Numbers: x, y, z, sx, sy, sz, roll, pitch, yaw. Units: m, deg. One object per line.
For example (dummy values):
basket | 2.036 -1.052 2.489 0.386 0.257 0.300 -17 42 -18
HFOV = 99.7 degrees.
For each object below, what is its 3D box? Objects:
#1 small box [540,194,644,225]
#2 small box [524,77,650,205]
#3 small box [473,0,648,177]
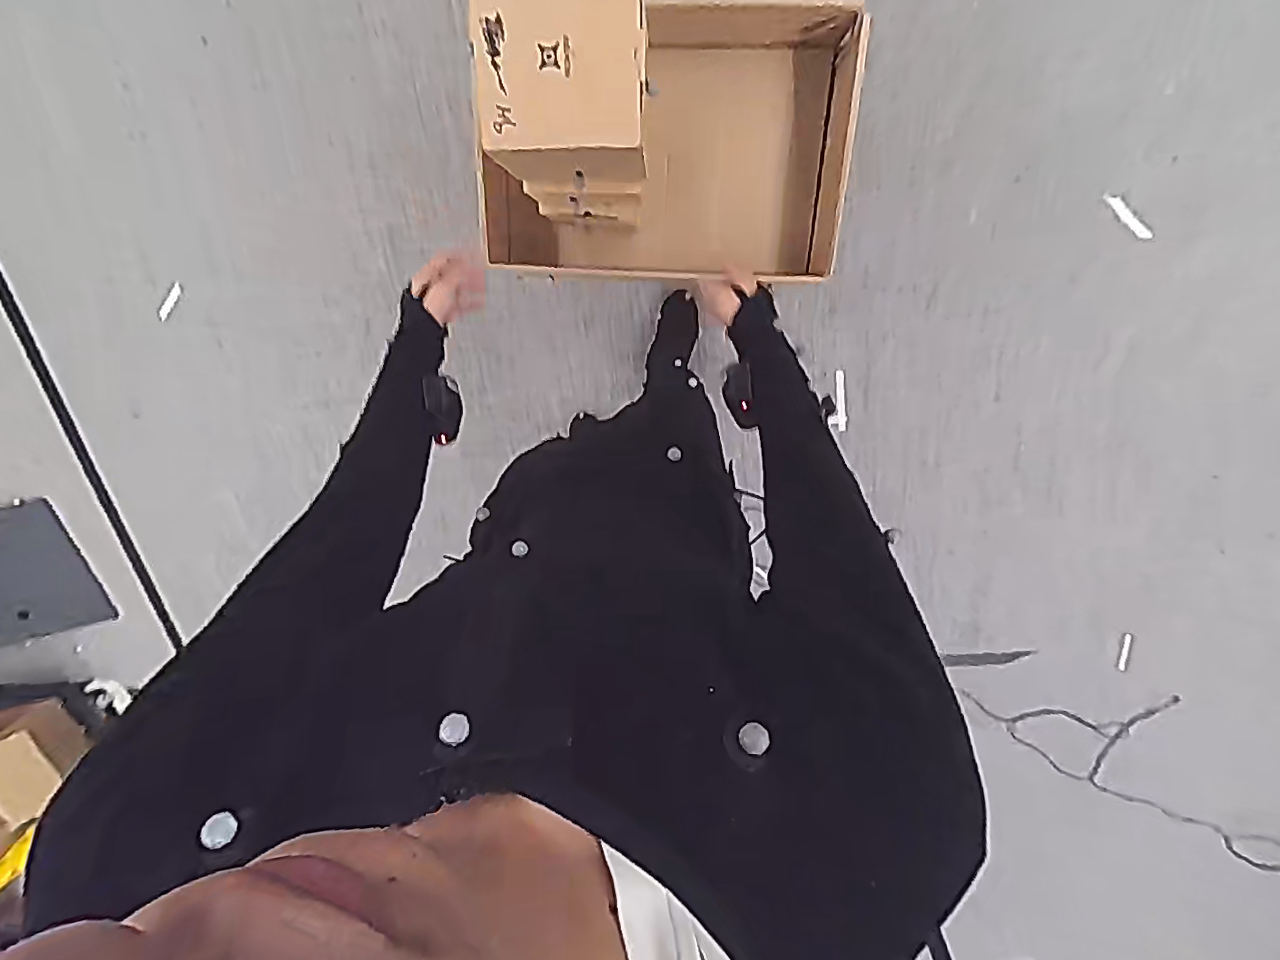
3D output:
small box | -0.074 -0.552 0.942 0.168 0.176 0.179 5 109 1
small box | -0.072 -0.507 0.785 0.168 0.176 0.179 2 109 2
small box | -0.079 -0.462 0.628 0.179 0.176 0.168 1 109 2
